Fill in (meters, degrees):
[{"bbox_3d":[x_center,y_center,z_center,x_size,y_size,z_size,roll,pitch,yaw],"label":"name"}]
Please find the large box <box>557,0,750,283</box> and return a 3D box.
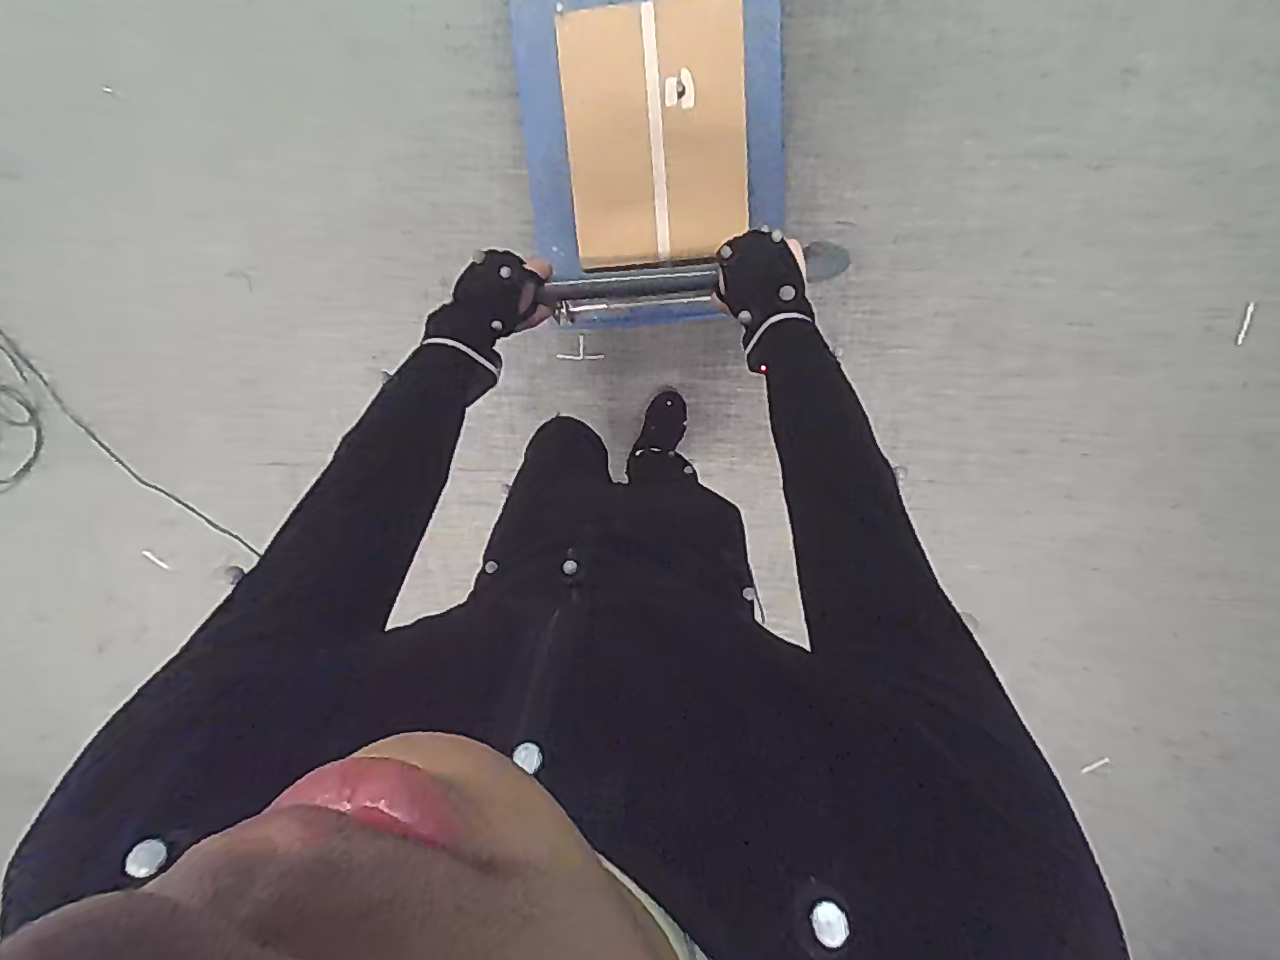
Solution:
[{"bbox_3d":[0.041,-0.632,1.087,0.320,0.320,0.408,-3,105,4],"label":"large box"}]
